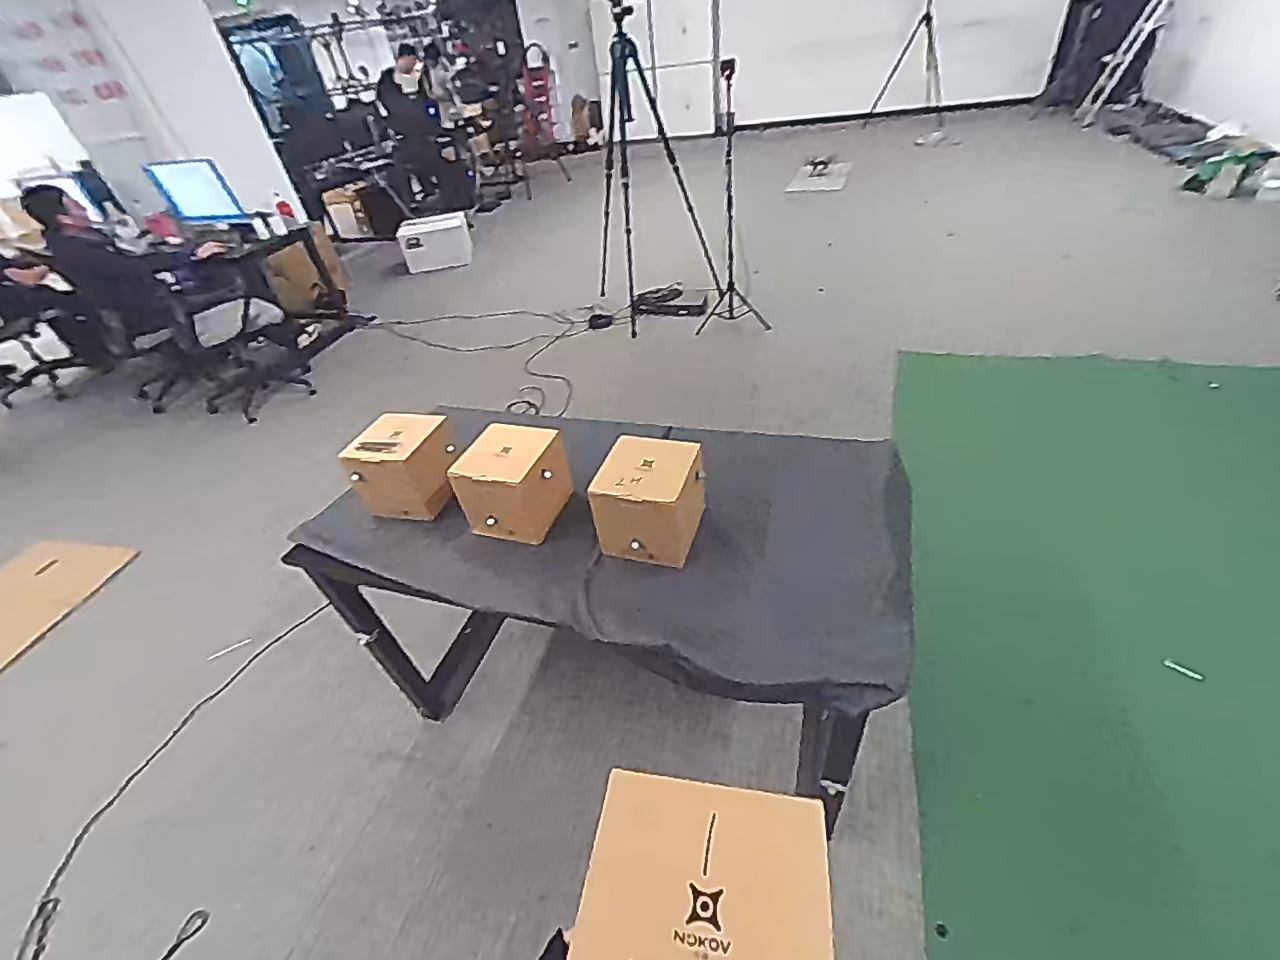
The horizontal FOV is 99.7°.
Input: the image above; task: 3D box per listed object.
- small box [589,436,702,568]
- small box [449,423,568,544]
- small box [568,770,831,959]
[{"bbox_3d":[0.020,0.040,1.040,0.168,0.176,0.179,8,43,19],"label":"small box"},{"bbox_3d":[-0.262,0.004,1.132,0.168,0.176,0.179,8,43,18],"label":"small box"},{"bbox_3d":[0.048,0.354,0.402,0.168,0.176,0.179,3,37,12],"label":"small box"}]
